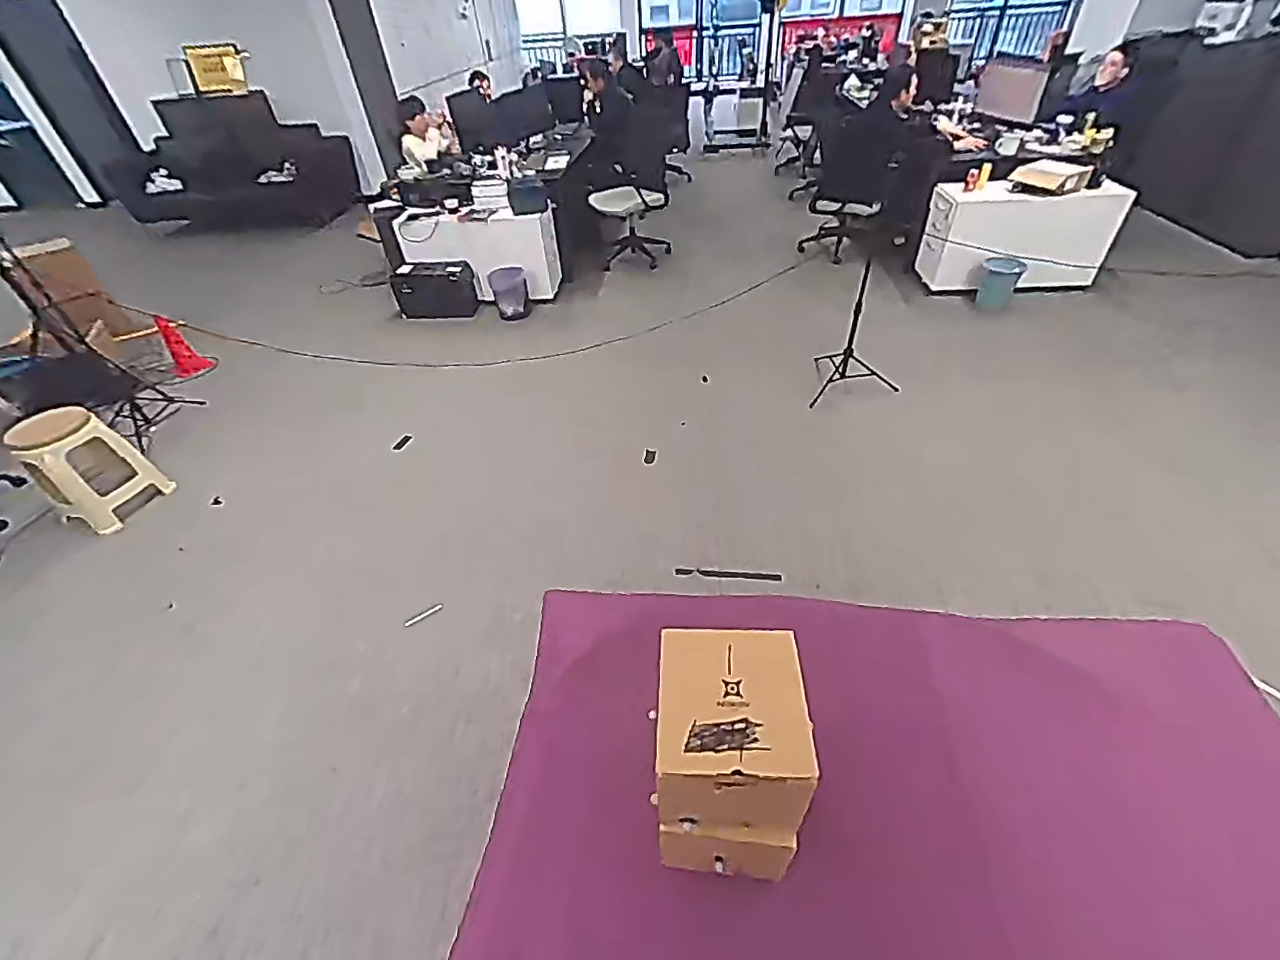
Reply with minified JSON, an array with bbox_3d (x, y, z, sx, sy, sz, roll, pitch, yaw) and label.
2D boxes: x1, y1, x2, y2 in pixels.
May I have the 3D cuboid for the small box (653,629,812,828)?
[{"bbox_3d":[0.106,0.307,0.667,0.168,0.176,0.179,0,41,5],"label":"small box"}]

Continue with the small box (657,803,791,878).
[{"bbox_3d":[0.118,0.437,0.768,0.168,0.176,0.179,3,42,8],"label":"small box"}]
